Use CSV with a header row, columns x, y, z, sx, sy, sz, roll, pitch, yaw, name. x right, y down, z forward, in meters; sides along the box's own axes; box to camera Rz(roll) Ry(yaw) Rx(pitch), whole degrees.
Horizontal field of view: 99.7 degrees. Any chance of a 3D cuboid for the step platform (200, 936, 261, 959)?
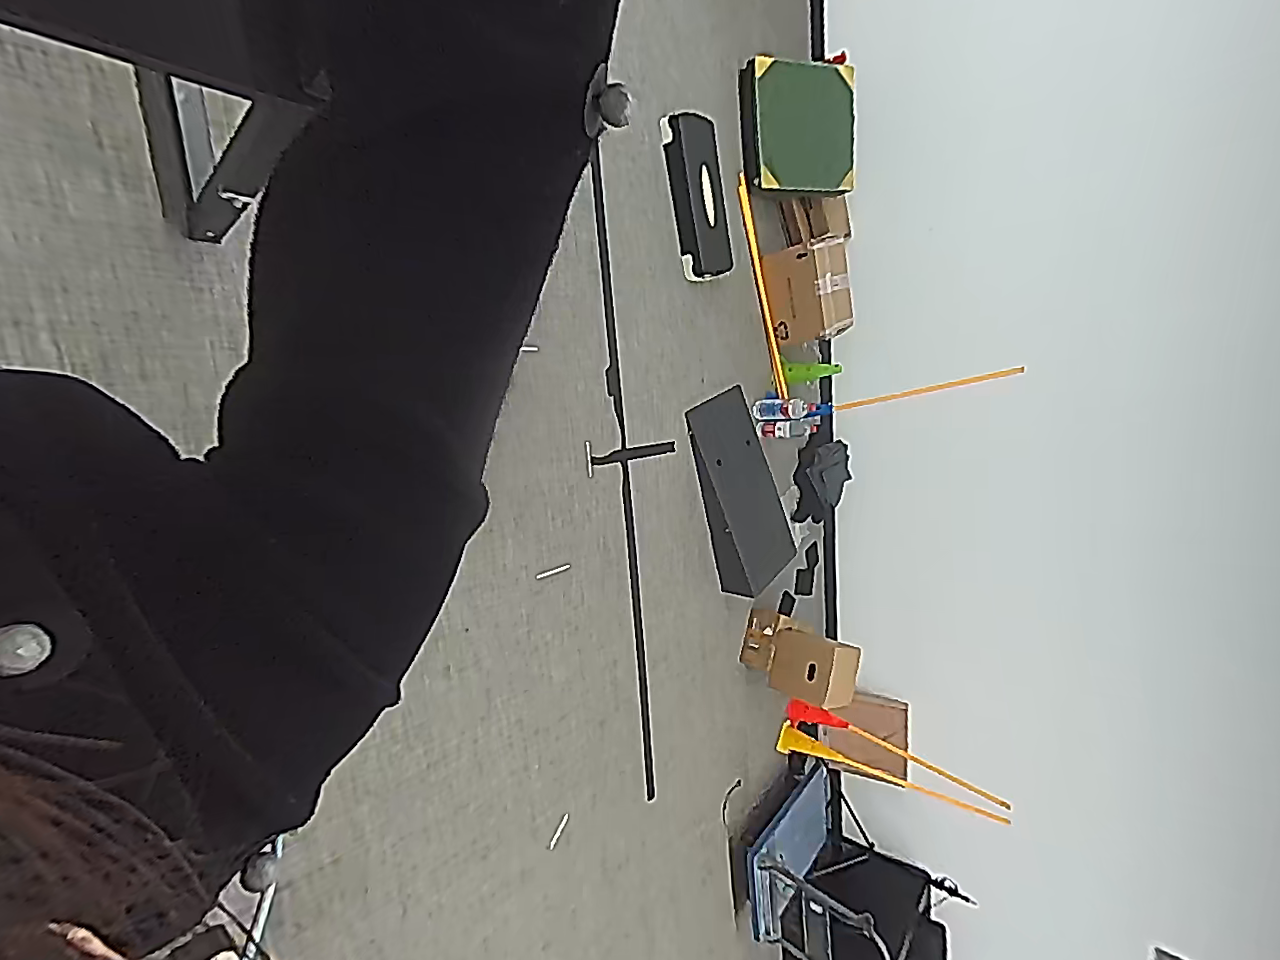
x,y,z,sx,sy,sz,roll,pitch,yaw,name
-1.095,1.239,1.011,0.684,0.204,0.286,-5,96,-48,step platform
